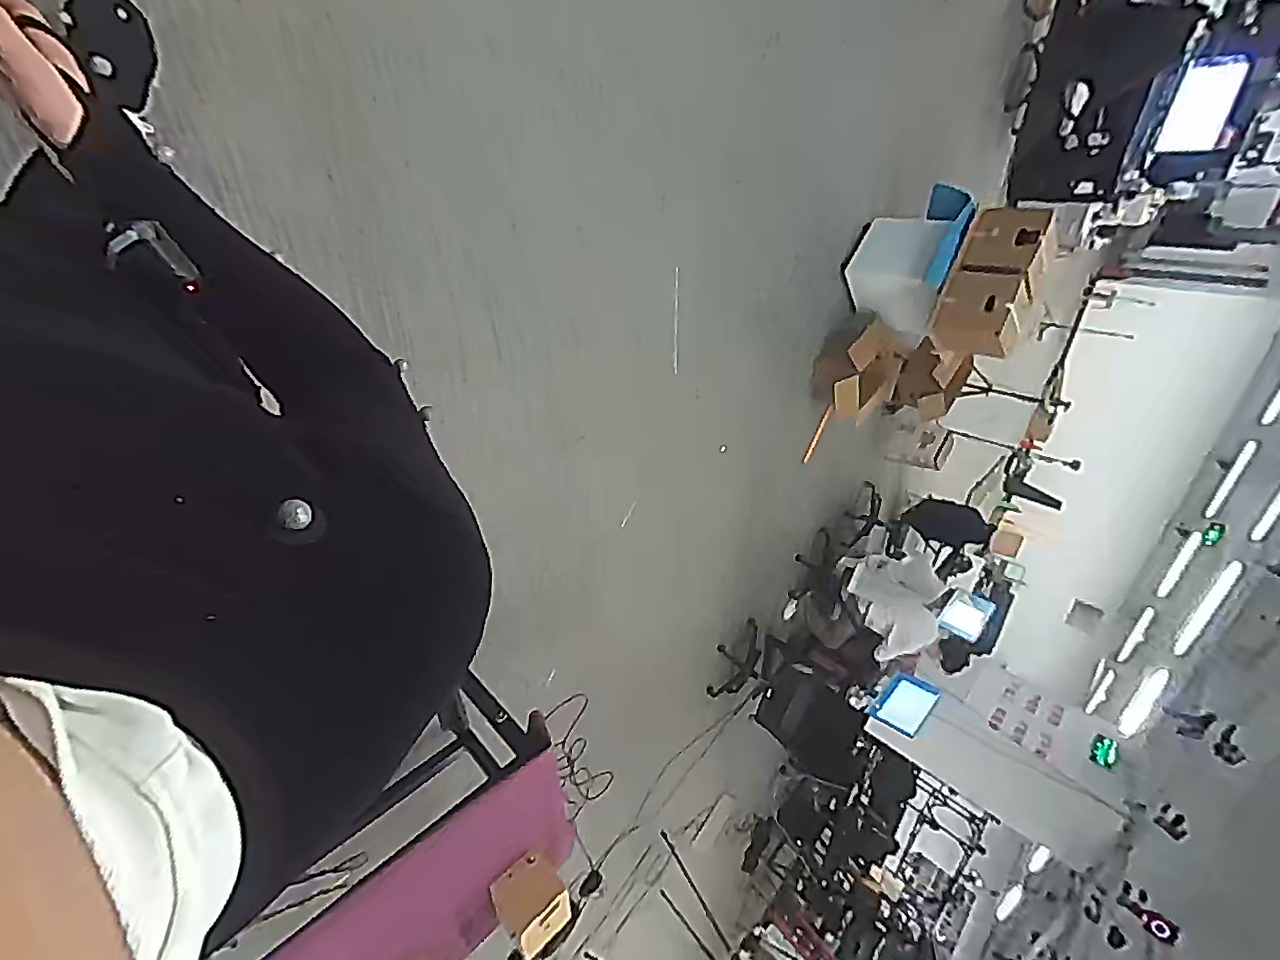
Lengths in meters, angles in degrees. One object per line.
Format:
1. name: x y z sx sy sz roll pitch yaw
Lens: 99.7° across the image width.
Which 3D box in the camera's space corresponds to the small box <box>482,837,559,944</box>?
1. small box: -0.368 1.250 1.662 0.168 0.176 0.179 -25 129 -38
